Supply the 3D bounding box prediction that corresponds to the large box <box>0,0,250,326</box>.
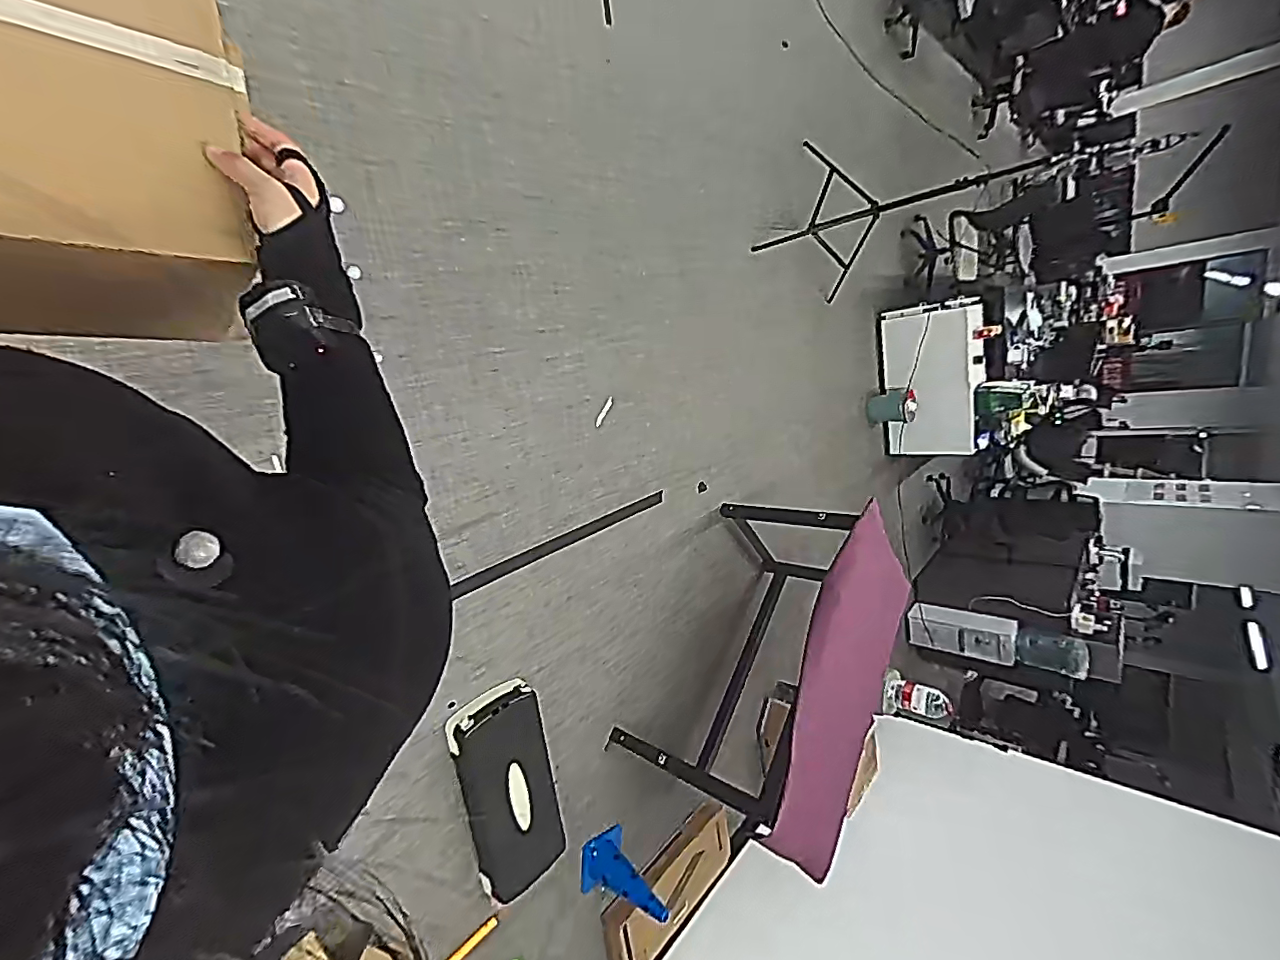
[{"bbox_3d":[-0.604,-0.318,0.443,0.408,0.320,0.320,-10,95,-41],"label":"large box"}]
